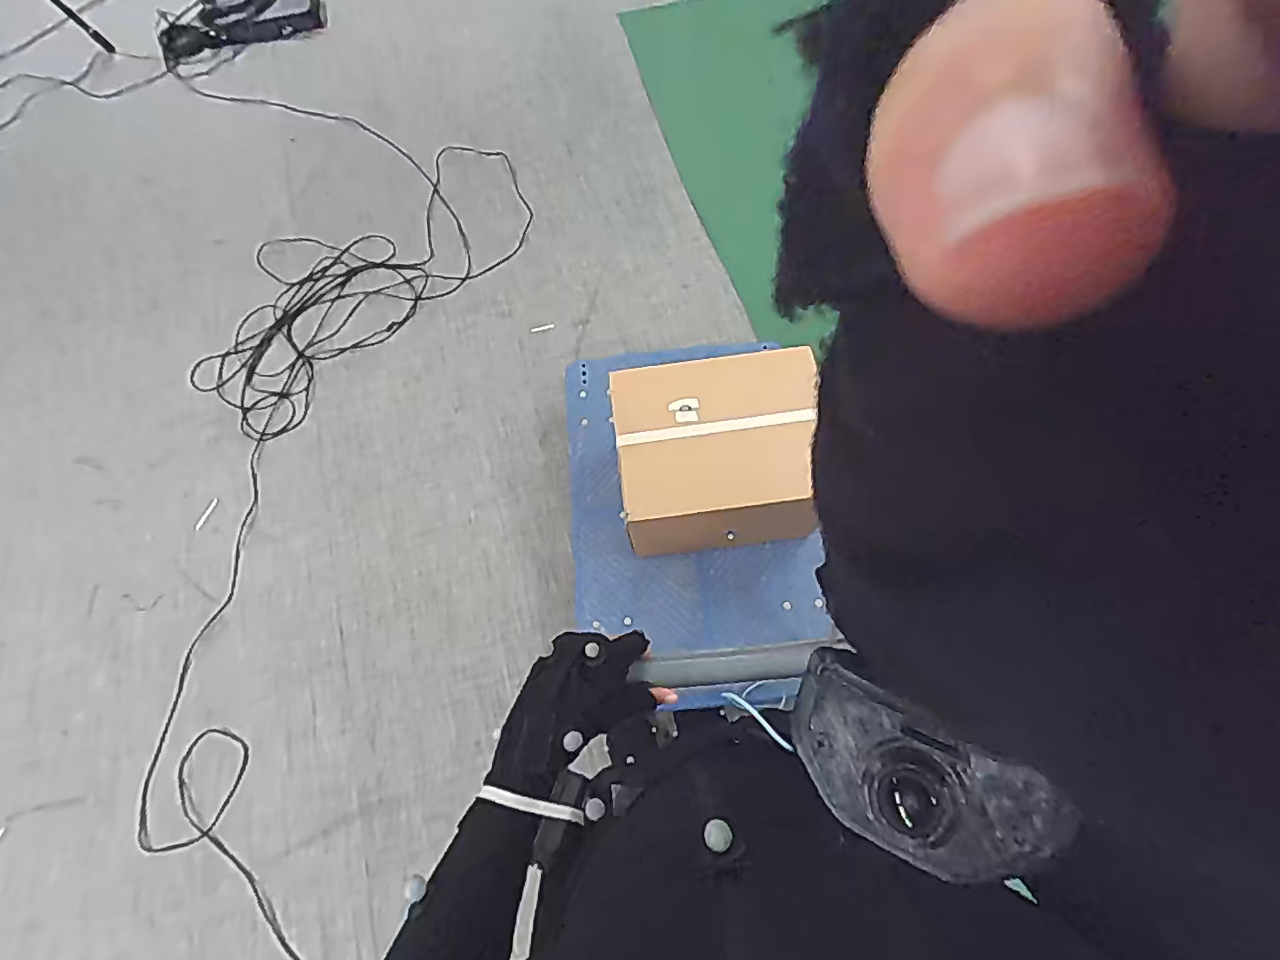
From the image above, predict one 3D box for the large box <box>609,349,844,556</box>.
[{"bbox_3d":[0.166,-0.040,1.170,0.408,0.320,0.320,-9,70,1],"label":"large box"}]
